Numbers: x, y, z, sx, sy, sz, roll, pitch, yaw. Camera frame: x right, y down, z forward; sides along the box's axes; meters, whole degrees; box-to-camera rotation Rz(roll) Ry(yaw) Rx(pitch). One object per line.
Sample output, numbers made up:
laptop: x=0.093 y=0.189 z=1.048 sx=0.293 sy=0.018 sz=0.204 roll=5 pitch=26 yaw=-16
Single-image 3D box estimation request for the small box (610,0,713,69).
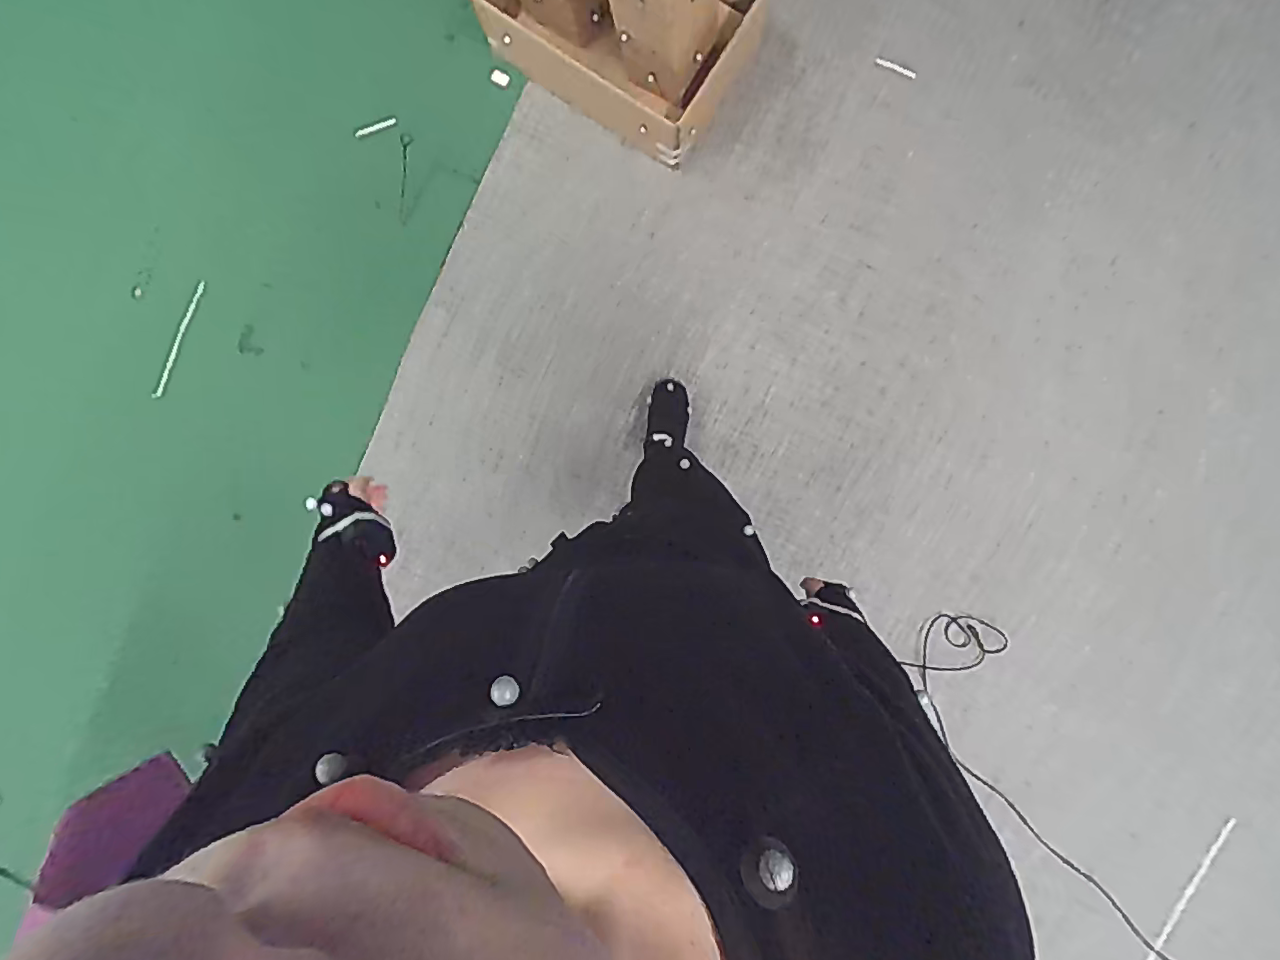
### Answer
small box: x=0.050 y=-1.033 z=1.142 sx=0.168 sy=0.176 sz=0.179 roll=33 pitch=95 yaw=3
